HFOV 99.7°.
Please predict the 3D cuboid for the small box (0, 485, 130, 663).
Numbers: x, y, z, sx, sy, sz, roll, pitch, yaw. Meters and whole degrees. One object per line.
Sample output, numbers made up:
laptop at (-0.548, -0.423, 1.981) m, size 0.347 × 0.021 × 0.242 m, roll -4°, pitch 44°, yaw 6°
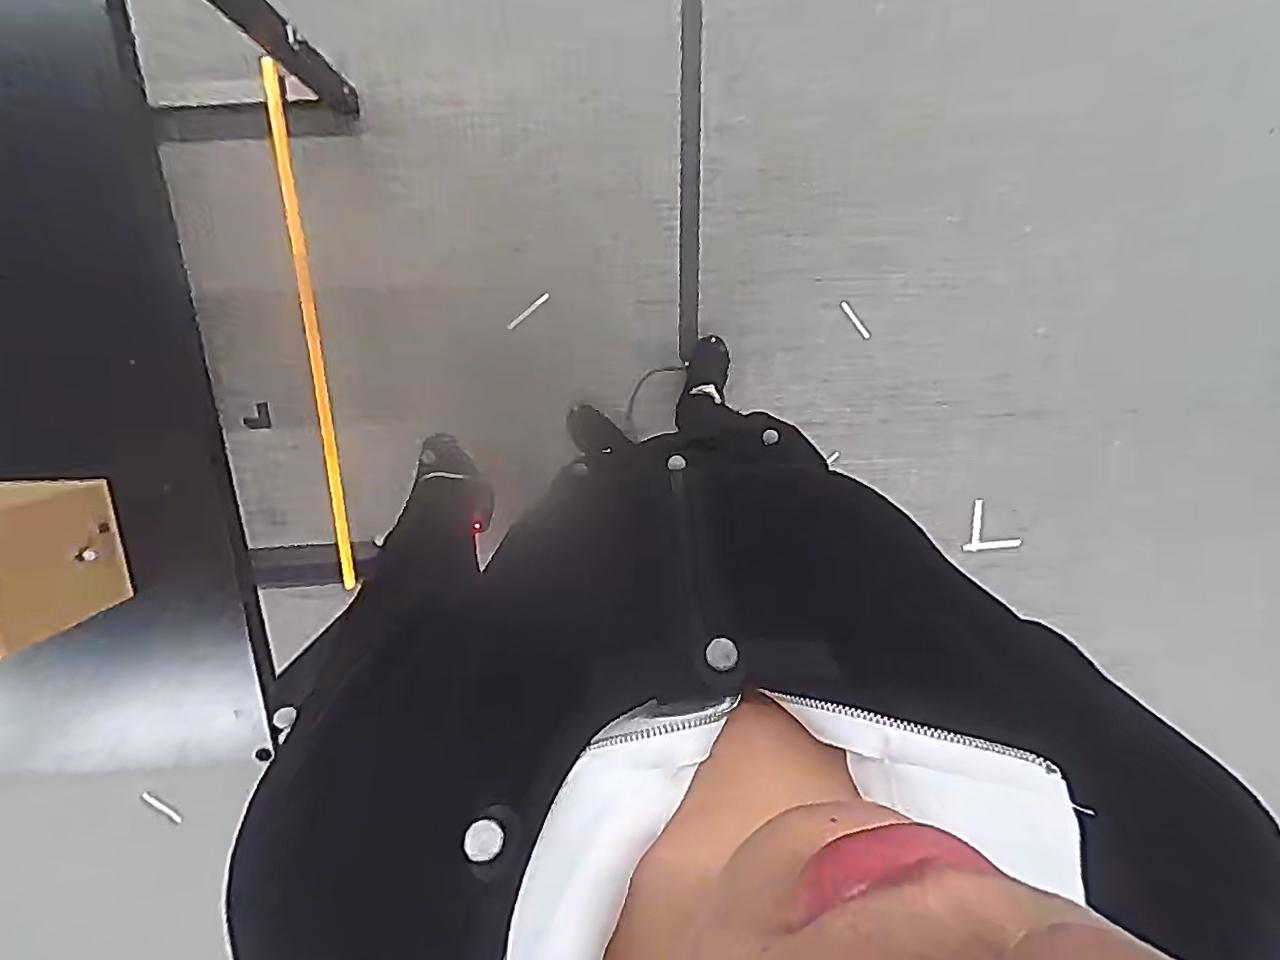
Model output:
small box at (-0.781, 0.105, 0.645) m, size 0.179 × 0.176 × 0.168 m, roll -2°, pitch 103°, yaw -3°
